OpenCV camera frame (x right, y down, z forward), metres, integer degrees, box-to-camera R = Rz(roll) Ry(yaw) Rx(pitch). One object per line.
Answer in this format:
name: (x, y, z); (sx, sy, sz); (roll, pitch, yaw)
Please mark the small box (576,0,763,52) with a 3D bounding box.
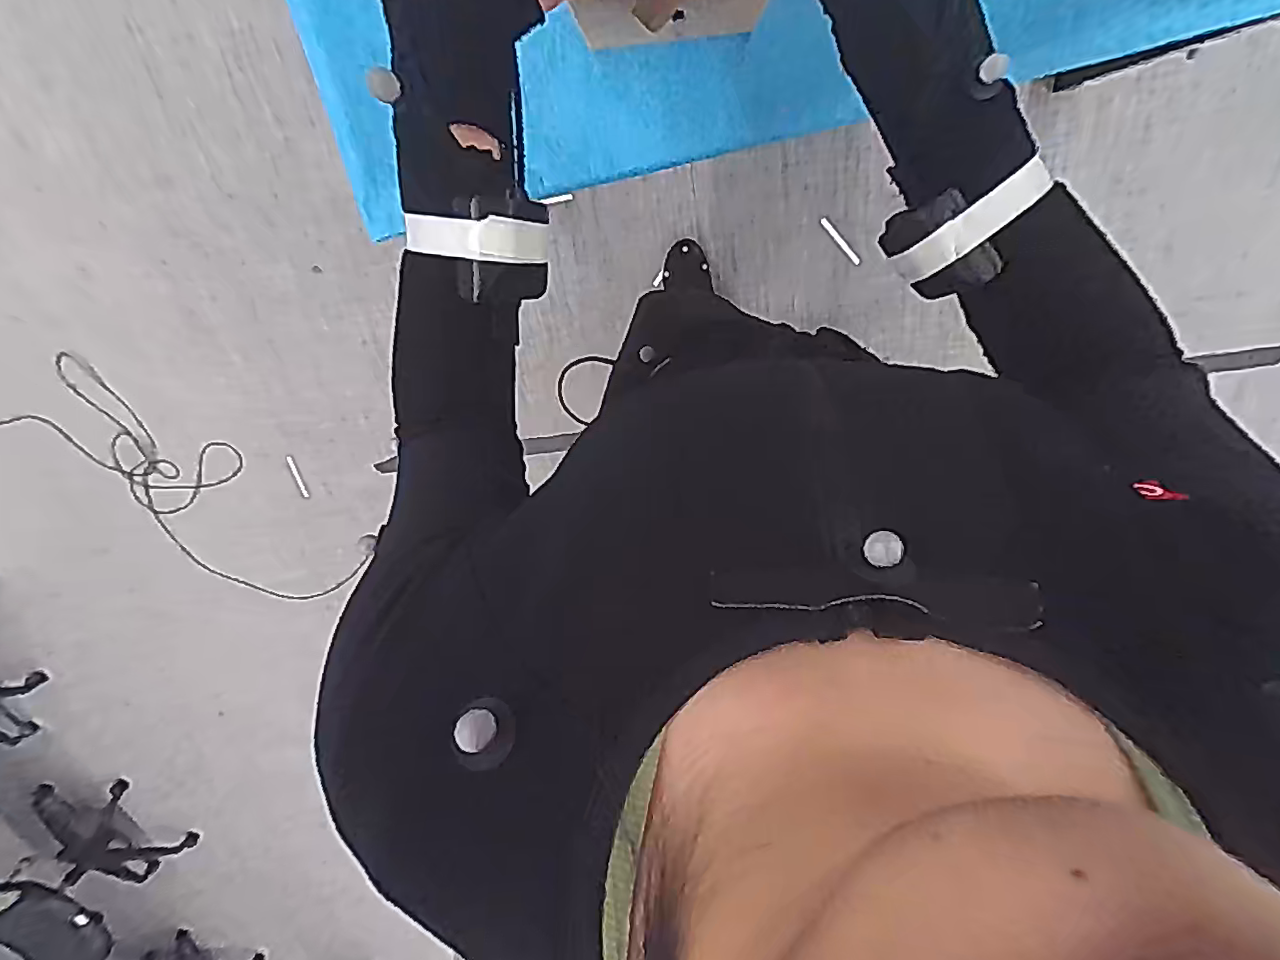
small box: (0.020, -0.483, 0.434); (0.168, 0.176, 0.179); (-4, 117, 4)
